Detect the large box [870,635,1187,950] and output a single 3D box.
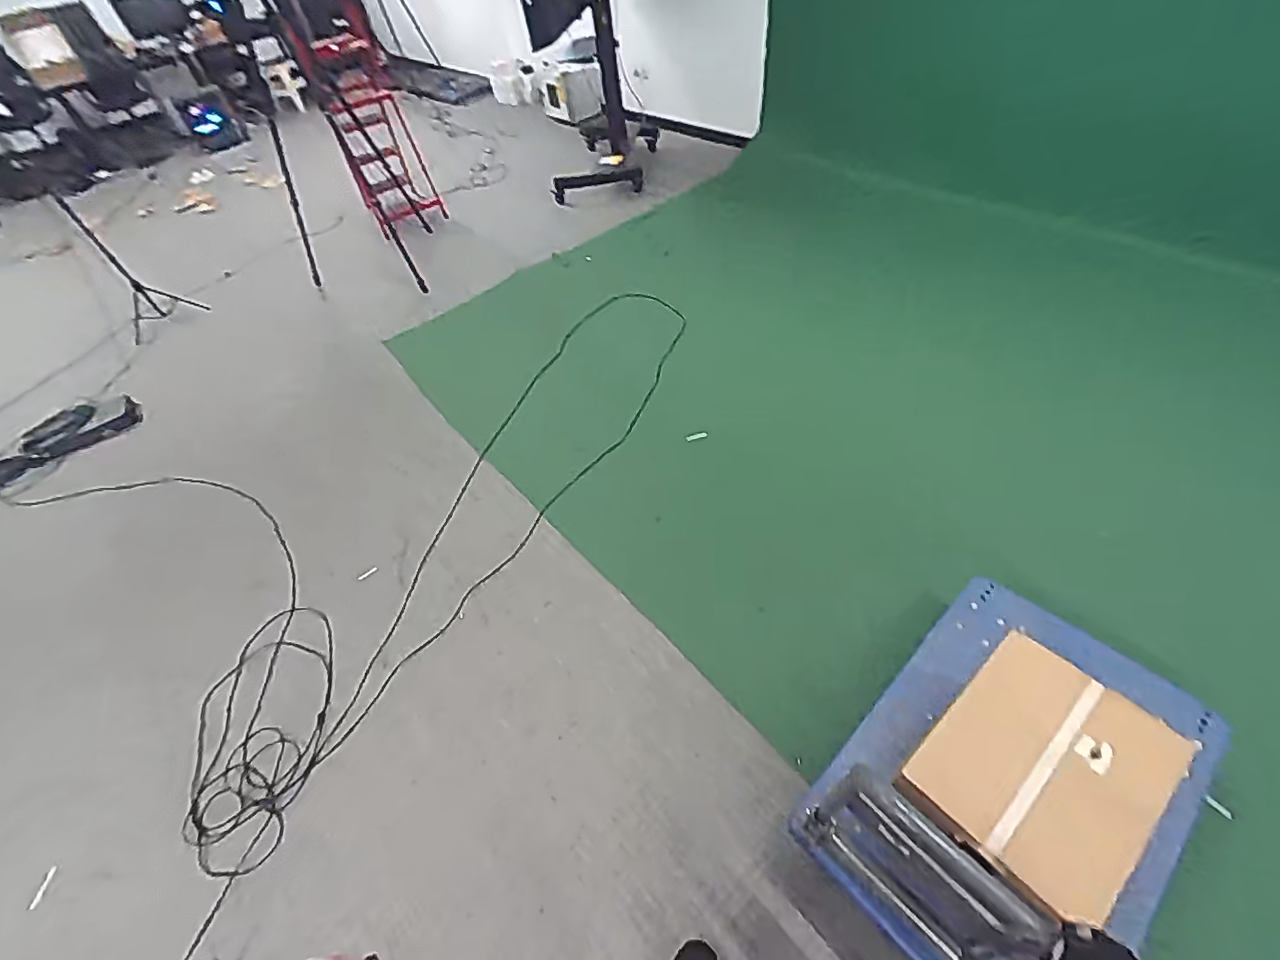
[{"bbox_3d":[0.721,0.599,1.056,0.408,0.320,0.320,-35,54,-22],"label":"large box"}]
